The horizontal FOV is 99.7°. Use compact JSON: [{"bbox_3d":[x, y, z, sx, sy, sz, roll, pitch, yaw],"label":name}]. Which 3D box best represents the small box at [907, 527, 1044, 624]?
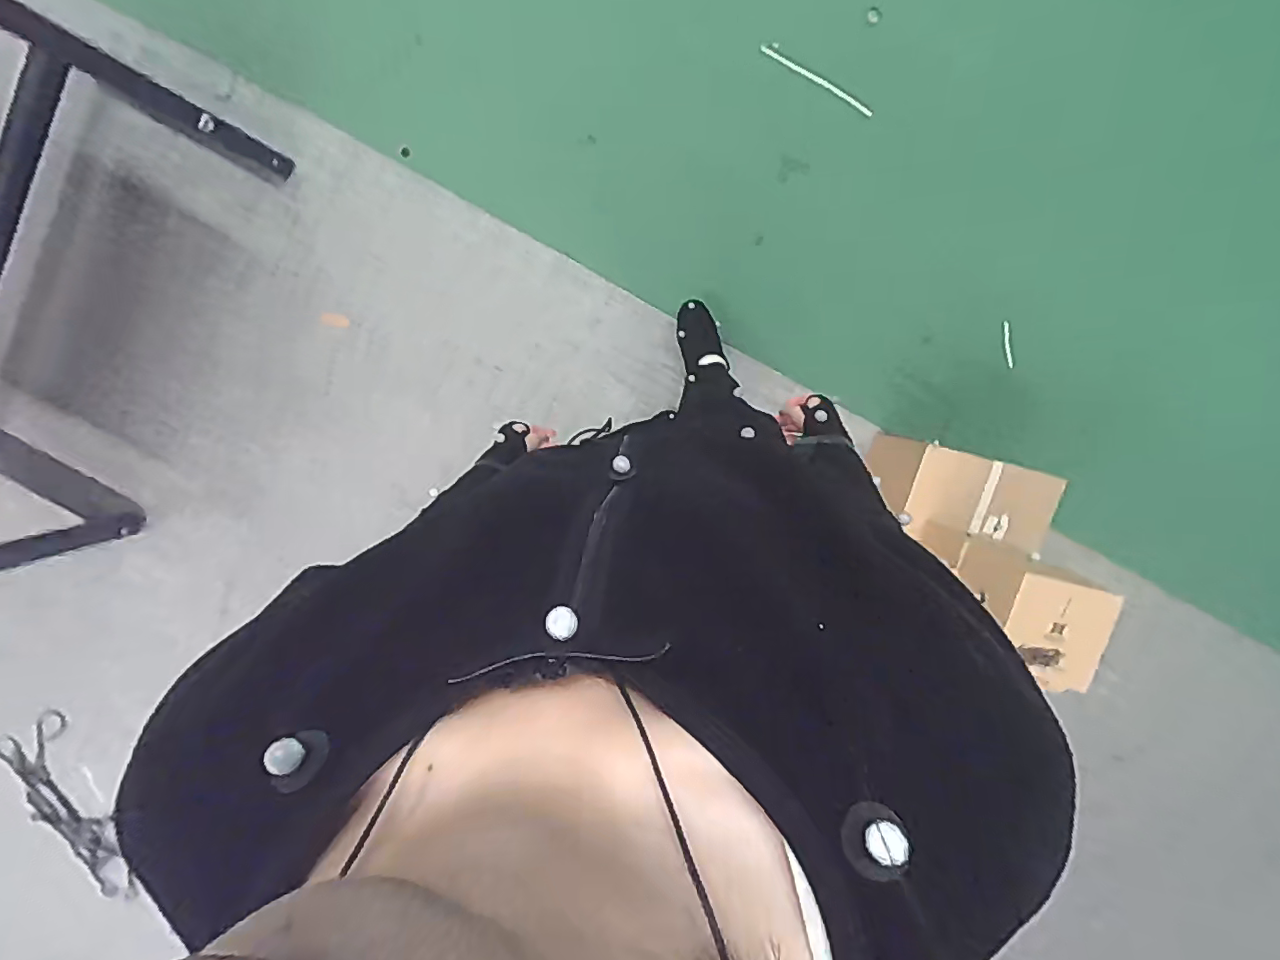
[{"bbox_3d":[0.681,0.206,1.105,0.179,0.176,0.168,16,100,1],"label":"small box"}]

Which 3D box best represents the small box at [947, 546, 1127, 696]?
[{"bbox_3d":[0.672,0.237,0.943,0.168,0.176,0.179,15,100,1],"label":"small box"}]

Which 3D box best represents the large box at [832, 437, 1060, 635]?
[{"bbox_3d":[0.719,0.131,1.339,0.320,0.320,0.408,15,99,0],"label":"large box"}]
